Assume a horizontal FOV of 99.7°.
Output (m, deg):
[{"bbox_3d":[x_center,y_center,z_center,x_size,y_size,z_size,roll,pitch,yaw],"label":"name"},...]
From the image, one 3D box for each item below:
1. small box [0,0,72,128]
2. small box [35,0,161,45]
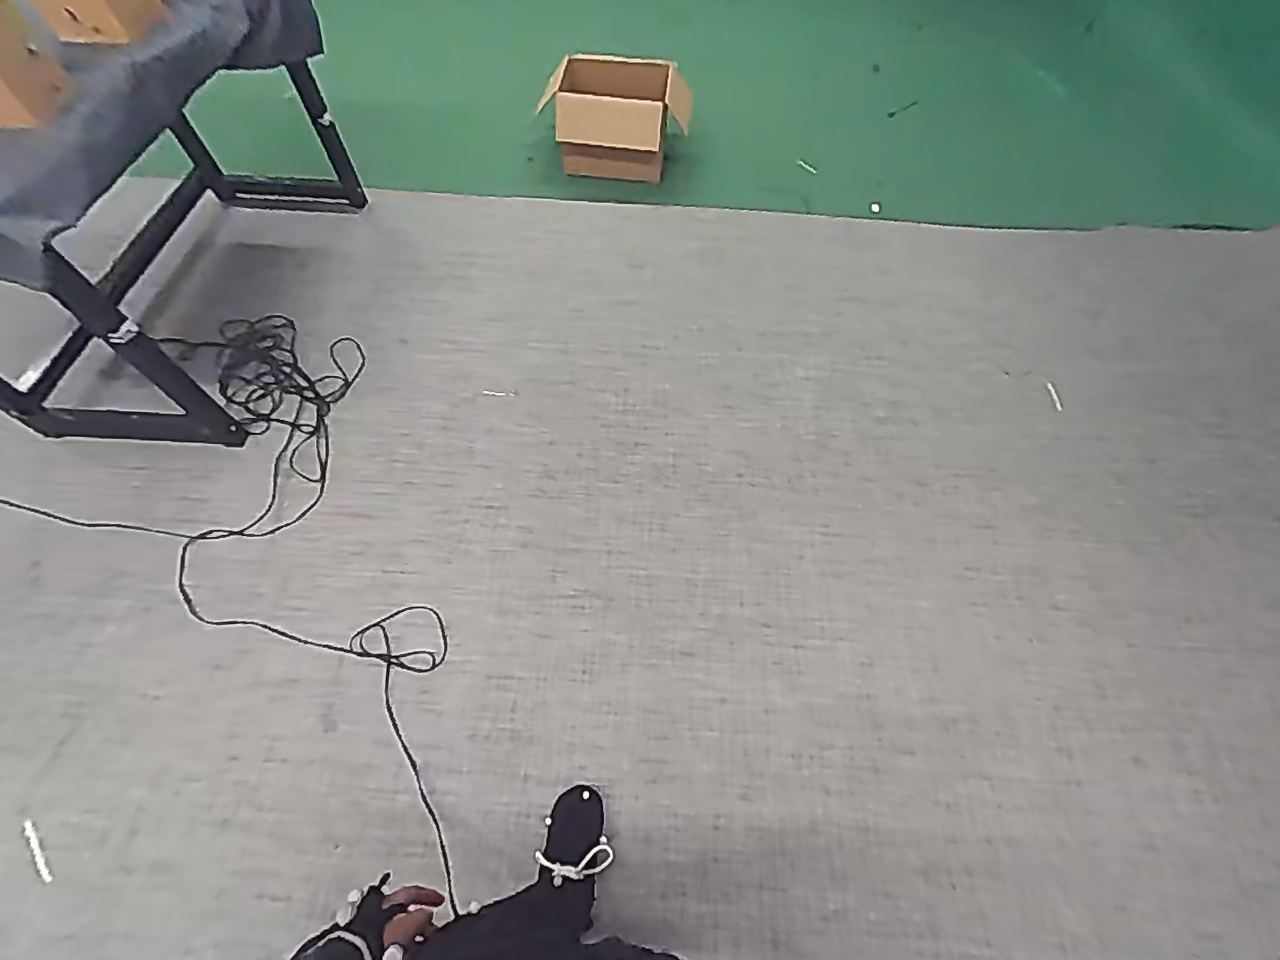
[{"bbox_3d":[-1.245,-0.782,1.008,0.179,0.176,0.168,-6,59,-4],"label":"small box"},{"bbox_3d":[-1.227,-1.106,1.197,0.168,0.176,0.179,1,61,-1],"label":"small box"}]
